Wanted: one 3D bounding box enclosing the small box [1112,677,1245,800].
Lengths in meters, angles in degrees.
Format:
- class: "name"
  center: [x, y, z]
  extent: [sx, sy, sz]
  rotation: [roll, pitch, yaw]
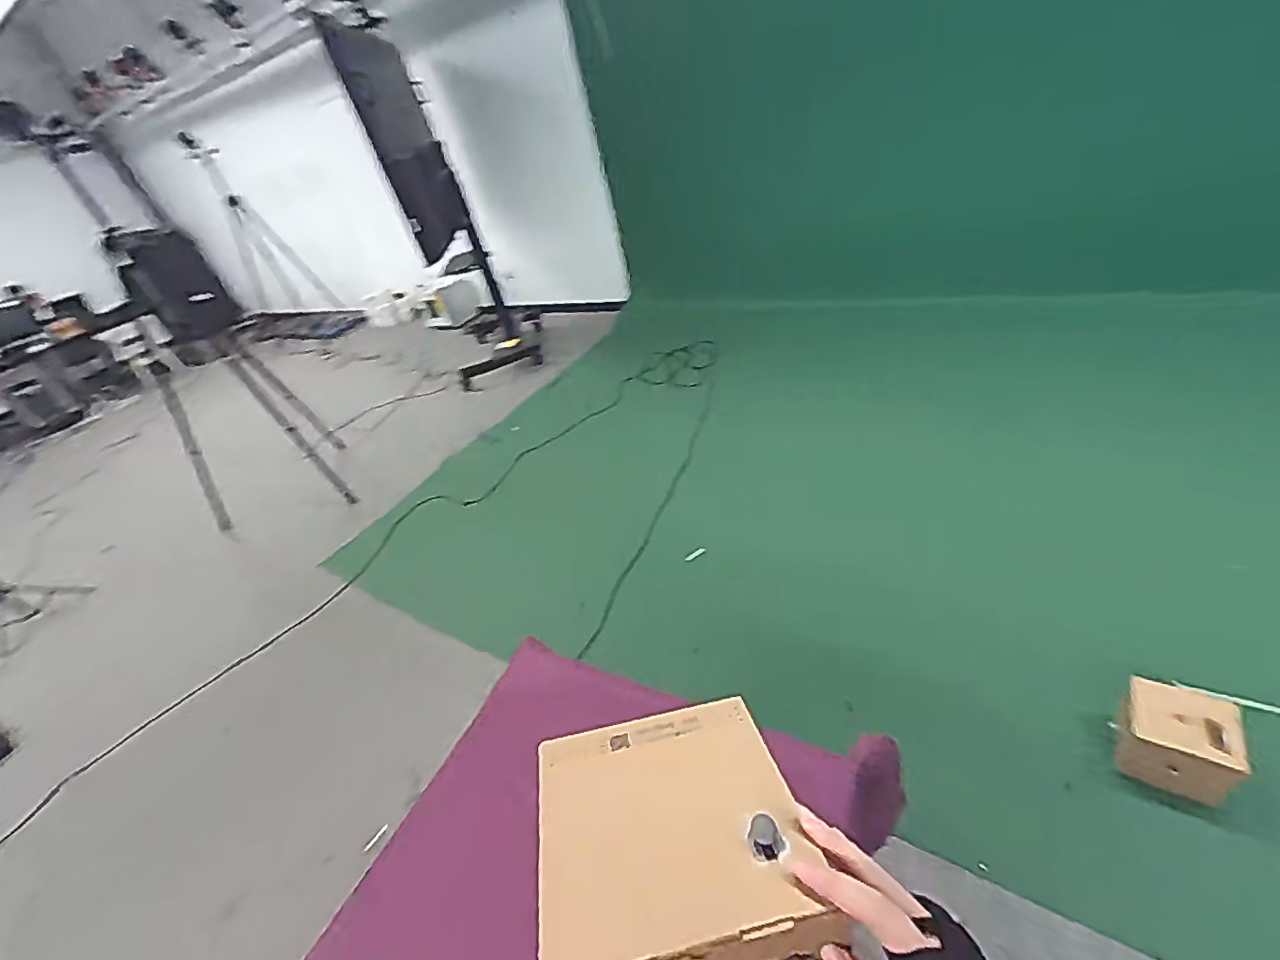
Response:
- class: "small box"
  center: [1.210, 0.590, 1.228]
  extent: [0.179, 0.176, 0.168]
  rotation: [10, 43, 34]
